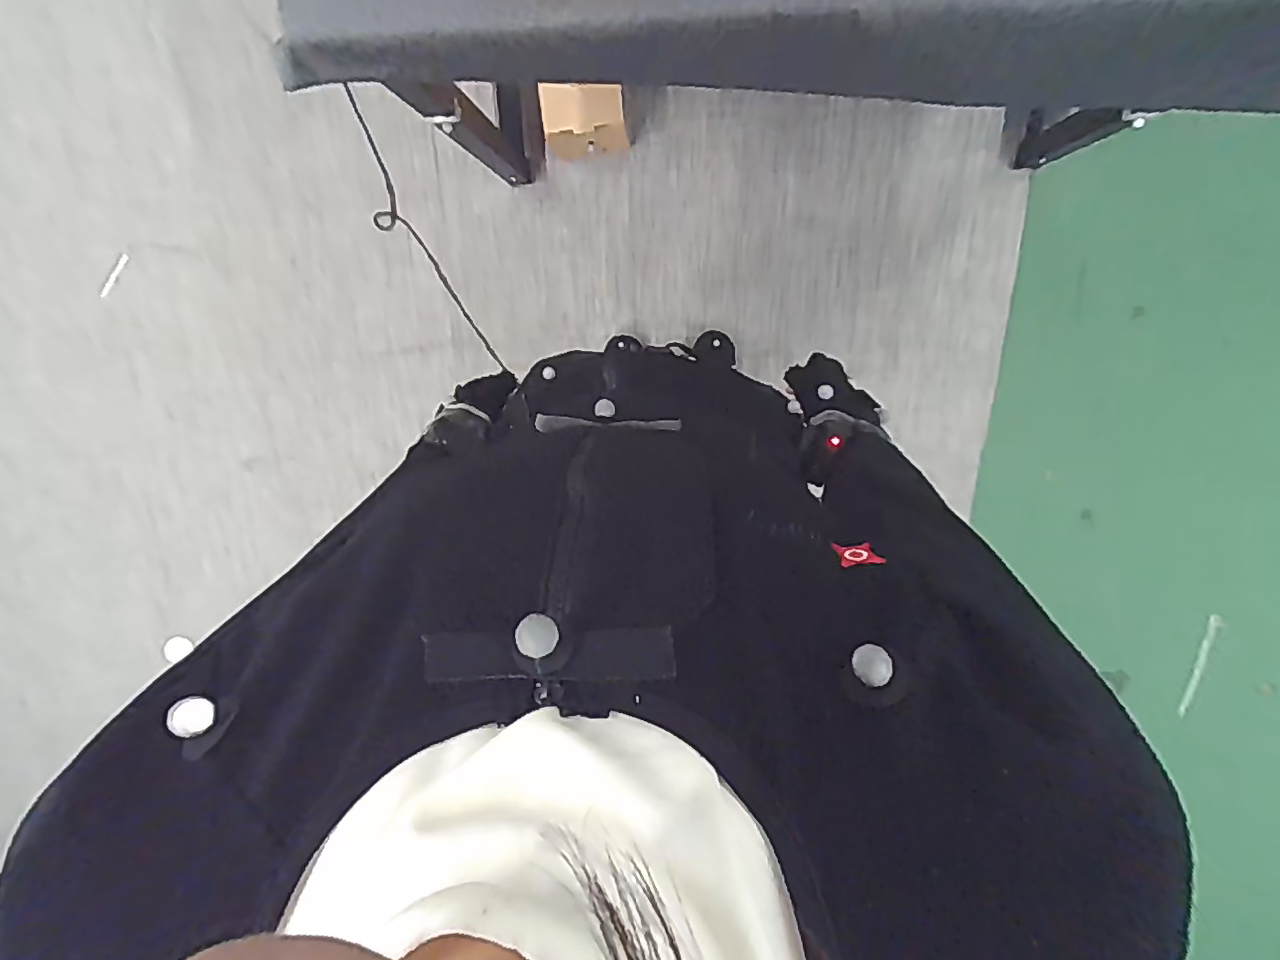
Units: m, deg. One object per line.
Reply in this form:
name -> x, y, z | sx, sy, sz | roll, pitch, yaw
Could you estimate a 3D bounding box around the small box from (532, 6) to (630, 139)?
small box -> -0.114, -0.833, 1.128 | 0.168, 0.176, 0.179 | -4, 108, 5
